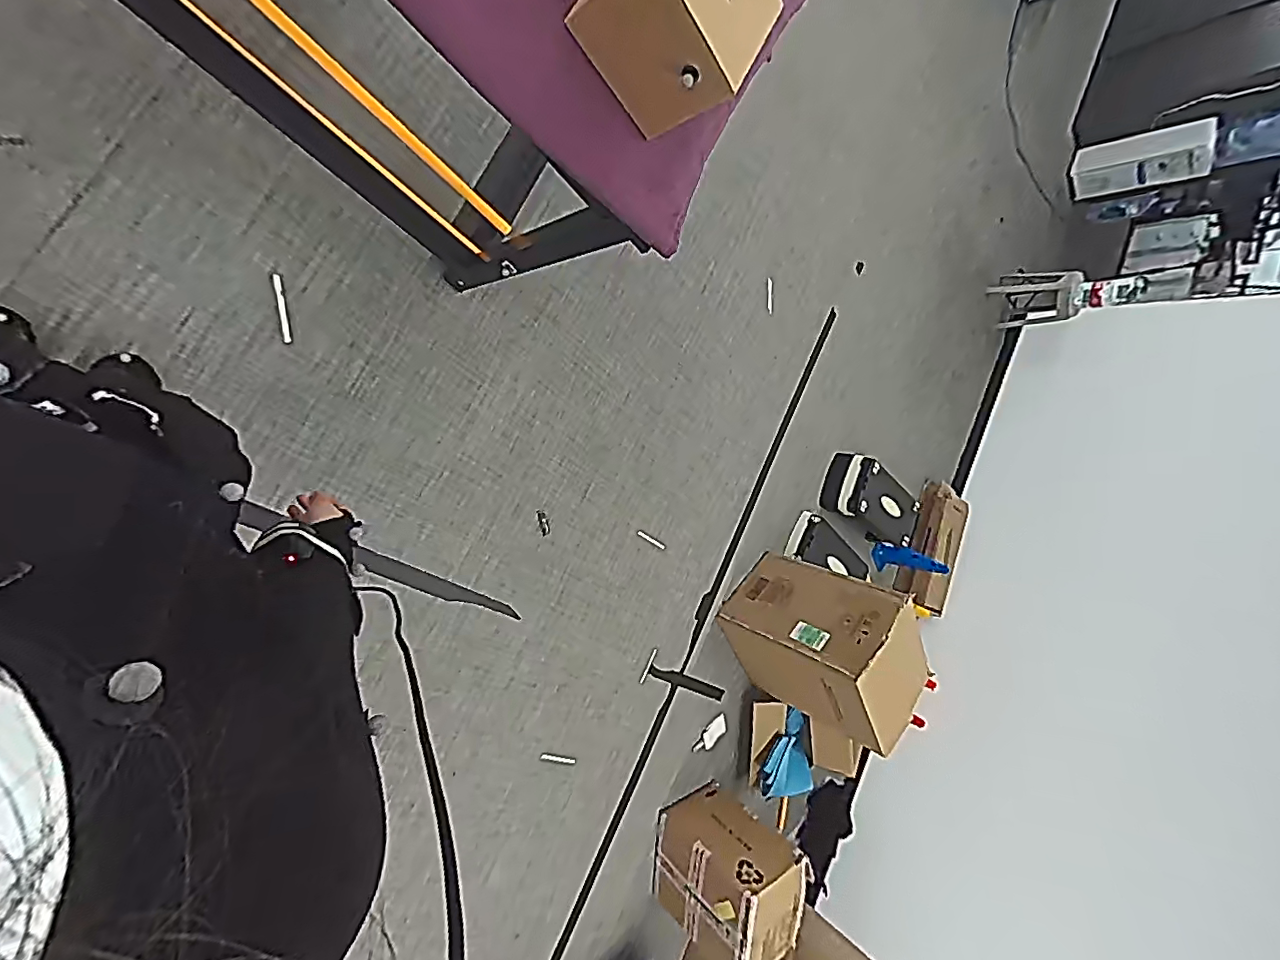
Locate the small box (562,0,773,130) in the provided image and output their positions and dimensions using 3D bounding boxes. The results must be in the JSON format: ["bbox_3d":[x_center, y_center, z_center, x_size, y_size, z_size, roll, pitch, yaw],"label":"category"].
[{"bbox_3d":[0.035,-0.594,0.700,0.179,0.176,0.168,38,72,-39],"label":"small box"}]
